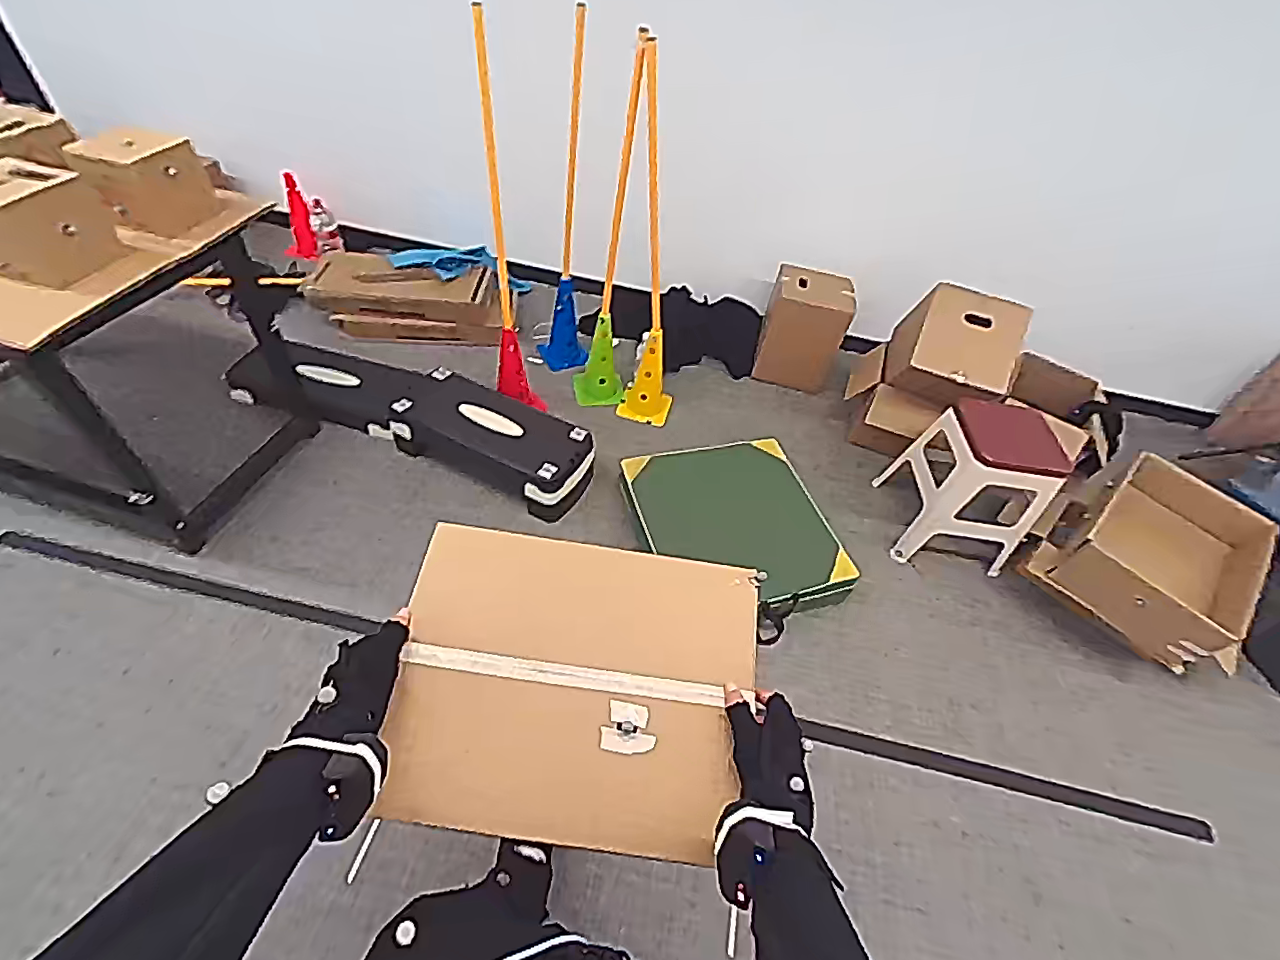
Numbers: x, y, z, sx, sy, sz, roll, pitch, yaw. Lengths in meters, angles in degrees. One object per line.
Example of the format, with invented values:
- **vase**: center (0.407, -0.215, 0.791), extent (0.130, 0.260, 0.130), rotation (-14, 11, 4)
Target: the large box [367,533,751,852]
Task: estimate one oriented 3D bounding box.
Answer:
- **large box**: center (-0.083, 0.298, 0.756), extent (0.408, 0.320, 0.320), rotation (9, 61, -1)
